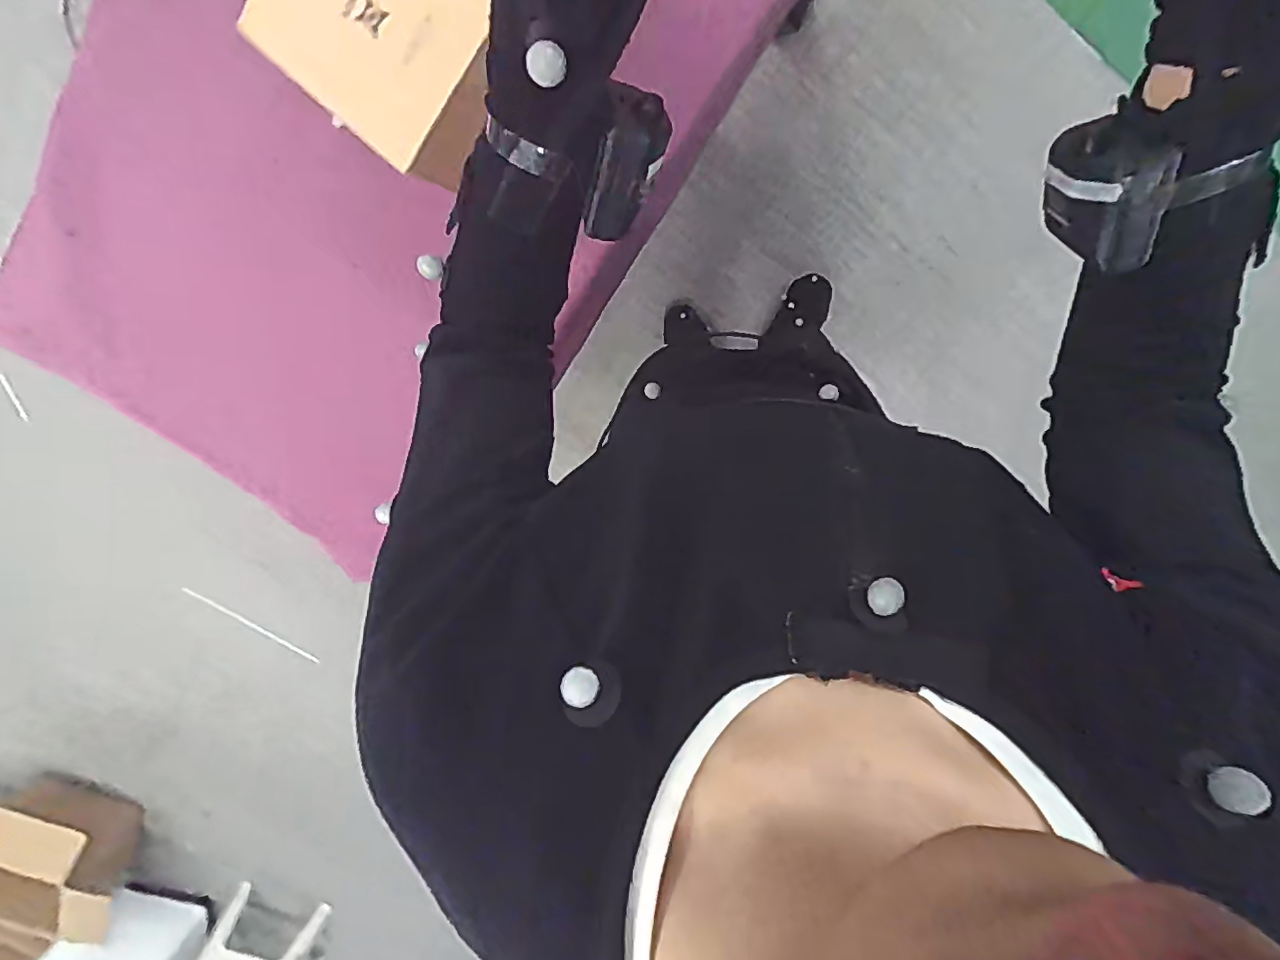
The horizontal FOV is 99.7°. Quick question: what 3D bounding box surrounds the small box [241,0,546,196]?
[{"bbox_3d":[-0.219,-0.408,0.526,0.179,0.176,0.168,39,108,-10],"label":"small box"}]
